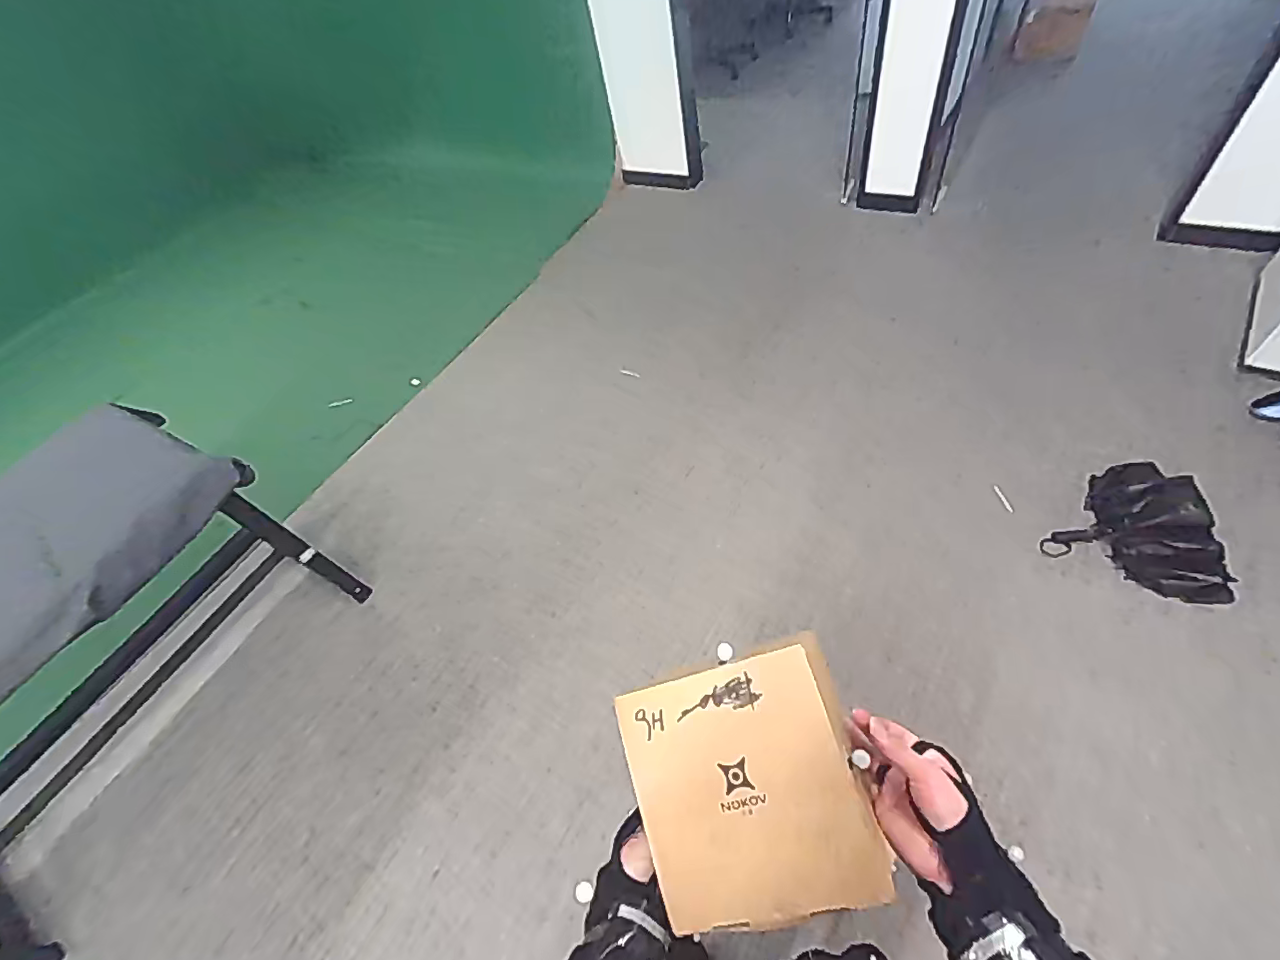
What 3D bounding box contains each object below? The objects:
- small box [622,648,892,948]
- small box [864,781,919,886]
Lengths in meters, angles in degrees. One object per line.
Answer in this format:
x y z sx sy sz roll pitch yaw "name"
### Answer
0.106 0.265 0.488 0.168 0.176 0.179 -21 72 14 "small box"
0.411 0.701 1.064 0.168 0.176 0.179 34 67 33 "small box"
